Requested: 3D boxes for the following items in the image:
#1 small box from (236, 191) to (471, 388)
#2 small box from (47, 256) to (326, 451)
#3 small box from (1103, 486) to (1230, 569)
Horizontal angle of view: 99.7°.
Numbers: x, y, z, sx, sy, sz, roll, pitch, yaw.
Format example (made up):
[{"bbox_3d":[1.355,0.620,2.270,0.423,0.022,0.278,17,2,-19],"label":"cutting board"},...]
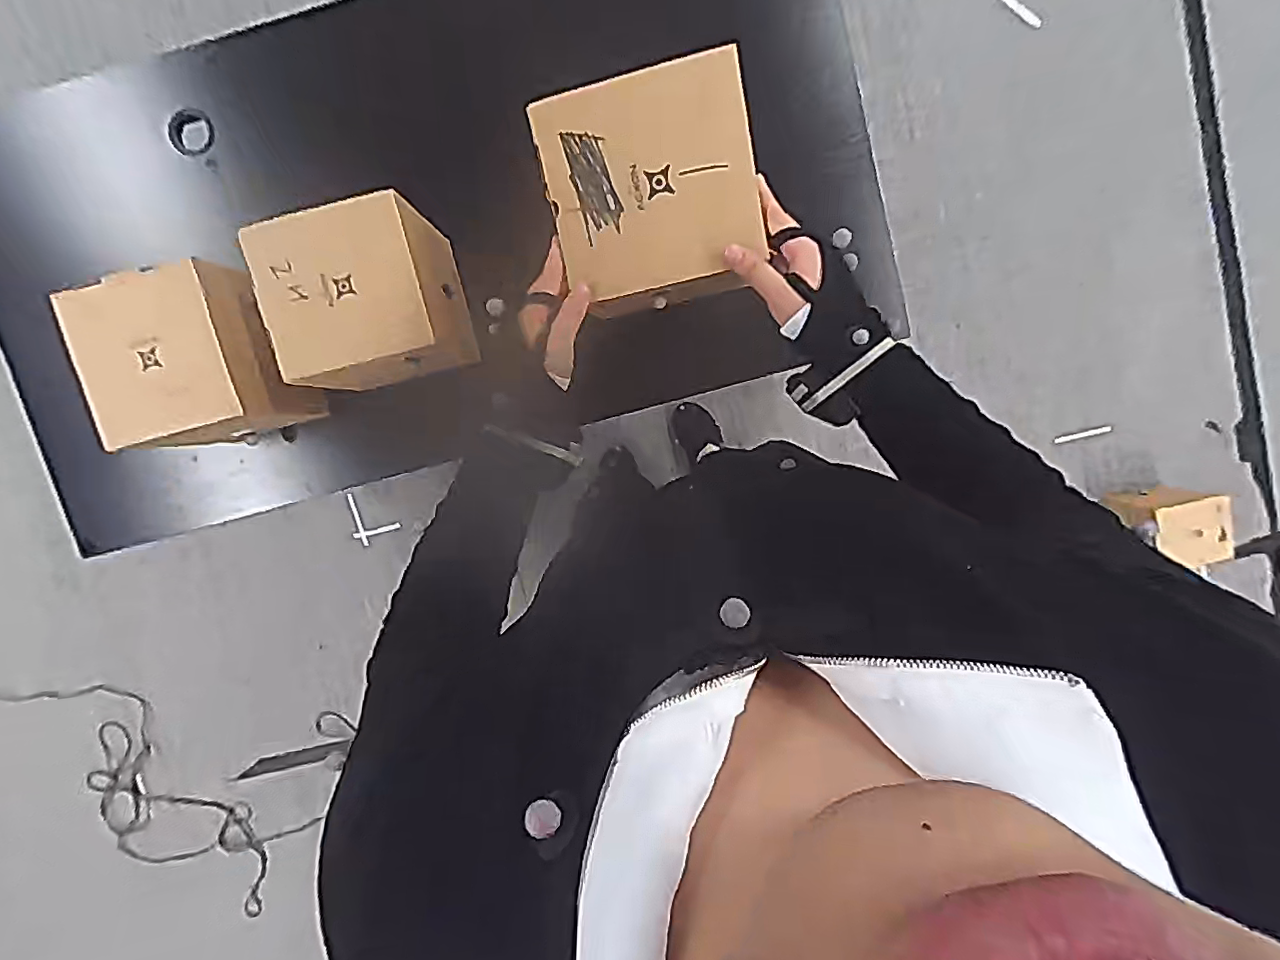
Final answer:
[{"bbox_3d":[-0.318,-0.211,0.646,0.179,0.176,0.168,-14,96,2],"label":"small box"},{"bbox_3d":[-0.527,-0.142,0.657,0.168,0.176,0.179,-15,97,3],"label":"small box"},{"bbox_3d":[1.355,0.117,1.407,0.179,0.176,0.168,-13,96,3],"label":"small box"}]
